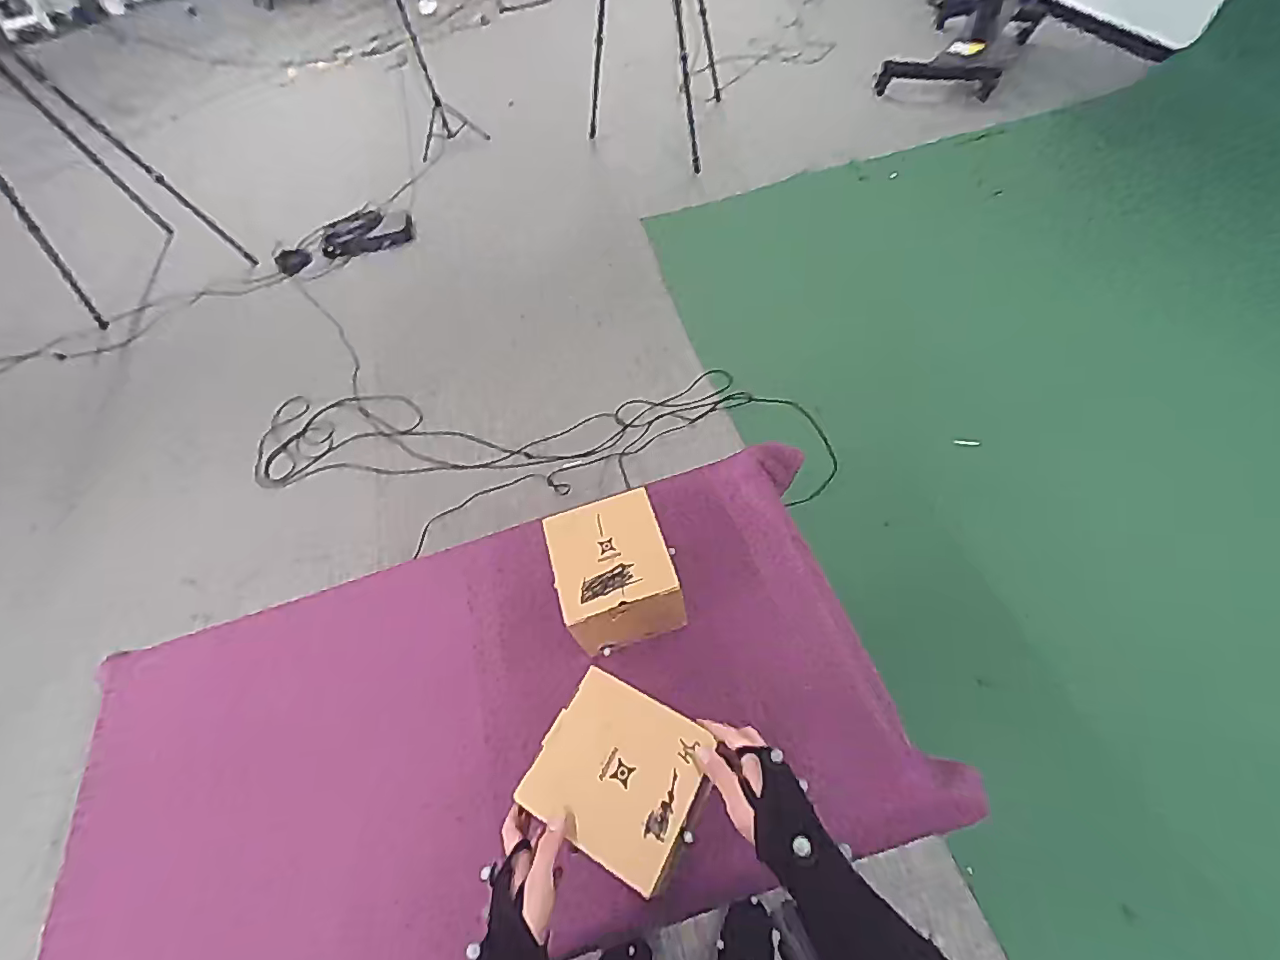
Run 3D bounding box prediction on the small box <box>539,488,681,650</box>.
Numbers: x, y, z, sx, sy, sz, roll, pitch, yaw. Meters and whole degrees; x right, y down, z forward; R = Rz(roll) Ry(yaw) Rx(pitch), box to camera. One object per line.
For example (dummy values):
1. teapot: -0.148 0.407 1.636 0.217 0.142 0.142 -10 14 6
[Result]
1. small box: -0.041 0.146 0.832 0.168 0.176 0.179 -18 56 -3
